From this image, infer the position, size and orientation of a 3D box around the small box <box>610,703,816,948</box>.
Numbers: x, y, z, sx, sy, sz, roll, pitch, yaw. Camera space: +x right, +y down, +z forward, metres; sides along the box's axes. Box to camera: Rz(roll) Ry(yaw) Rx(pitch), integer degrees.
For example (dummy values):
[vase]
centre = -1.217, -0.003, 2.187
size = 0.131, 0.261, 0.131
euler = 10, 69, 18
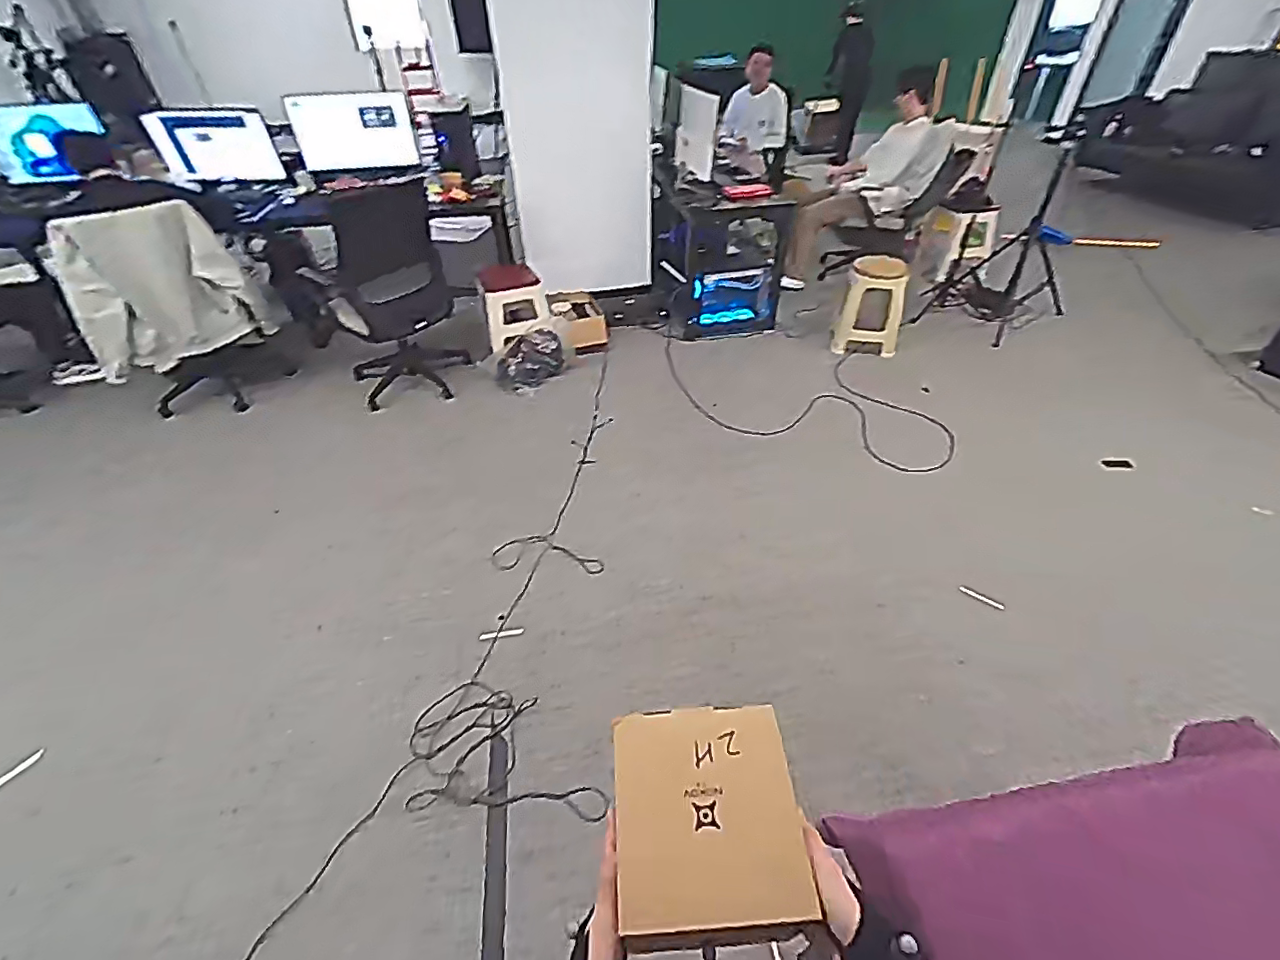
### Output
[small box]
centre = 0.059, 0.350, 0.545
size = 0.168, 0.176, 0.179
euler = -4, 44, -2
